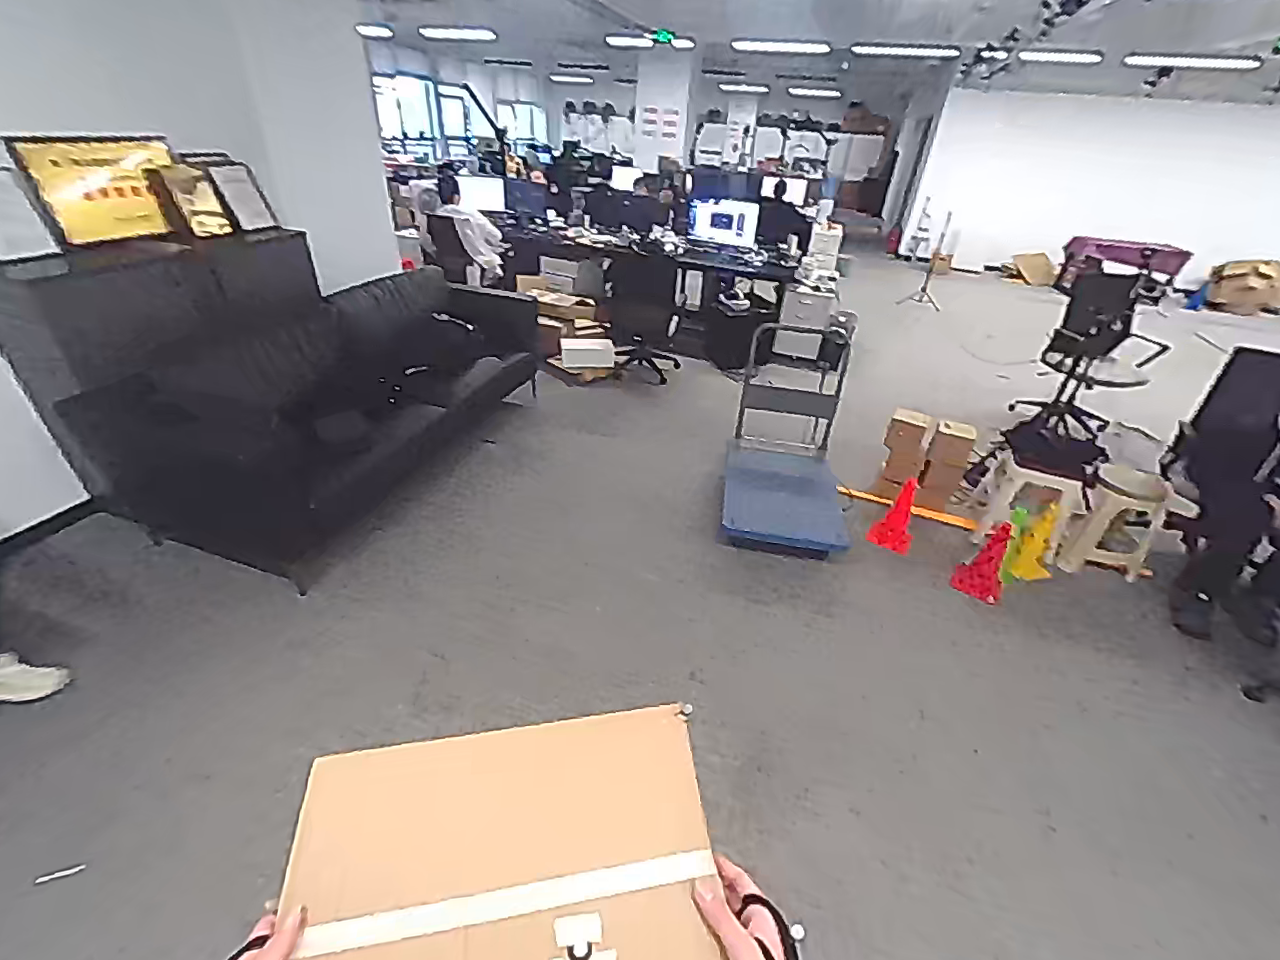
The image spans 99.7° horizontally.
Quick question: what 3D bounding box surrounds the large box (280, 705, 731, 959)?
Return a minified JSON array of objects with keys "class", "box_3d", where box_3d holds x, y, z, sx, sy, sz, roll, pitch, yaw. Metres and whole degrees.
[{"class":"large box","box_3d":[-0.136,0.502,0.624,0.408,0.320,0.320,-5,48,-9]}]
